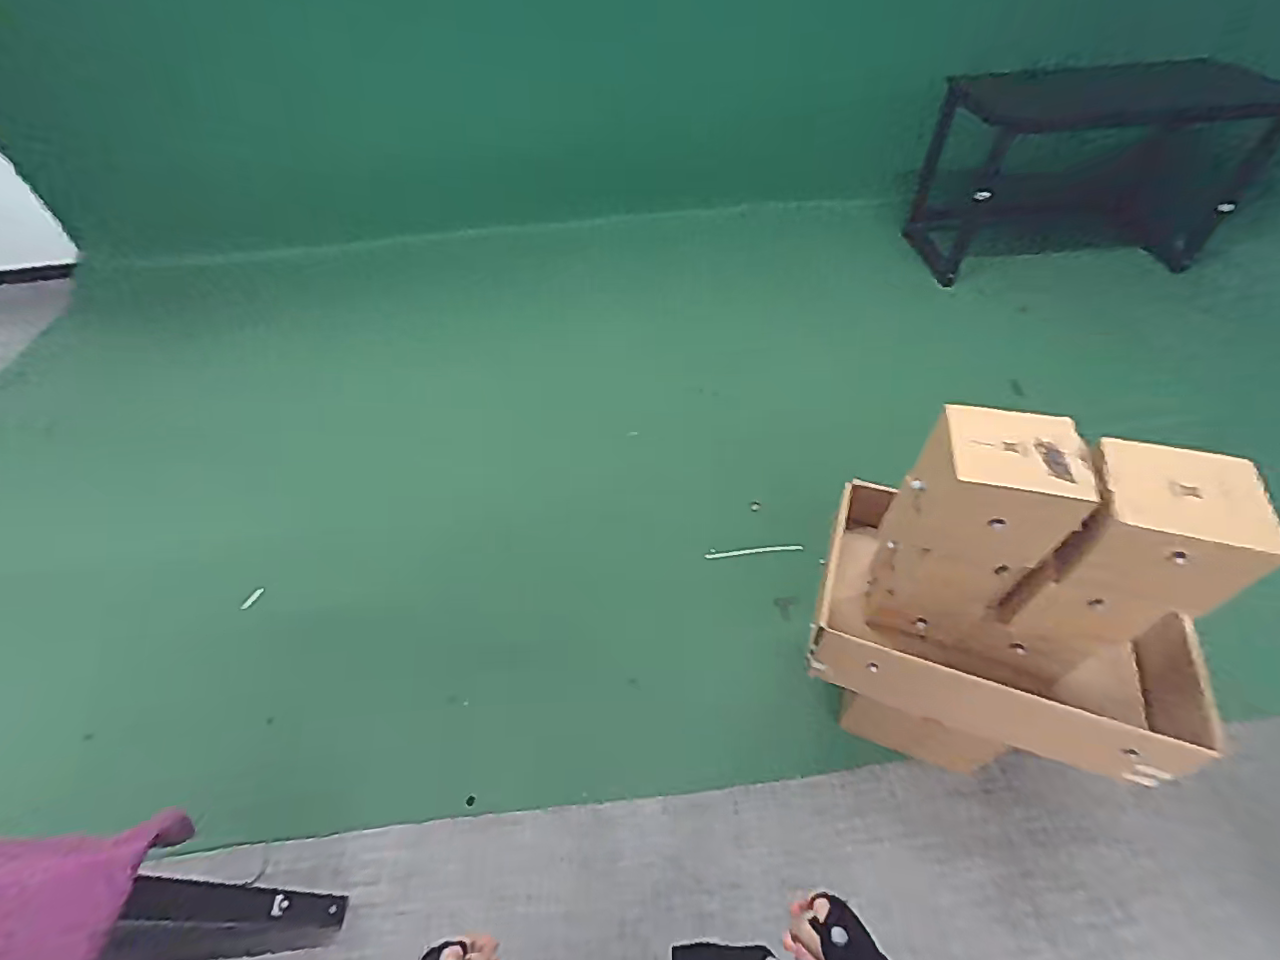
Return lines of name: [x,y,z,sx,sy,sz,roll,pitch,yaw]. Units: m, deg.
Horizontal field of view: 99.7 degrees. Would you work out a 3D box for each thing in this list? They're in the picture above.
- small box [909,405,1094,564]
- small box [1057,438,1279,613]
small box: [0.538,0.010,0.836,0.179,0.176,0.168,9,49,12]
small box: [0.730,0.068,0.779,0.179,0.176,0.168,13,52,18]
